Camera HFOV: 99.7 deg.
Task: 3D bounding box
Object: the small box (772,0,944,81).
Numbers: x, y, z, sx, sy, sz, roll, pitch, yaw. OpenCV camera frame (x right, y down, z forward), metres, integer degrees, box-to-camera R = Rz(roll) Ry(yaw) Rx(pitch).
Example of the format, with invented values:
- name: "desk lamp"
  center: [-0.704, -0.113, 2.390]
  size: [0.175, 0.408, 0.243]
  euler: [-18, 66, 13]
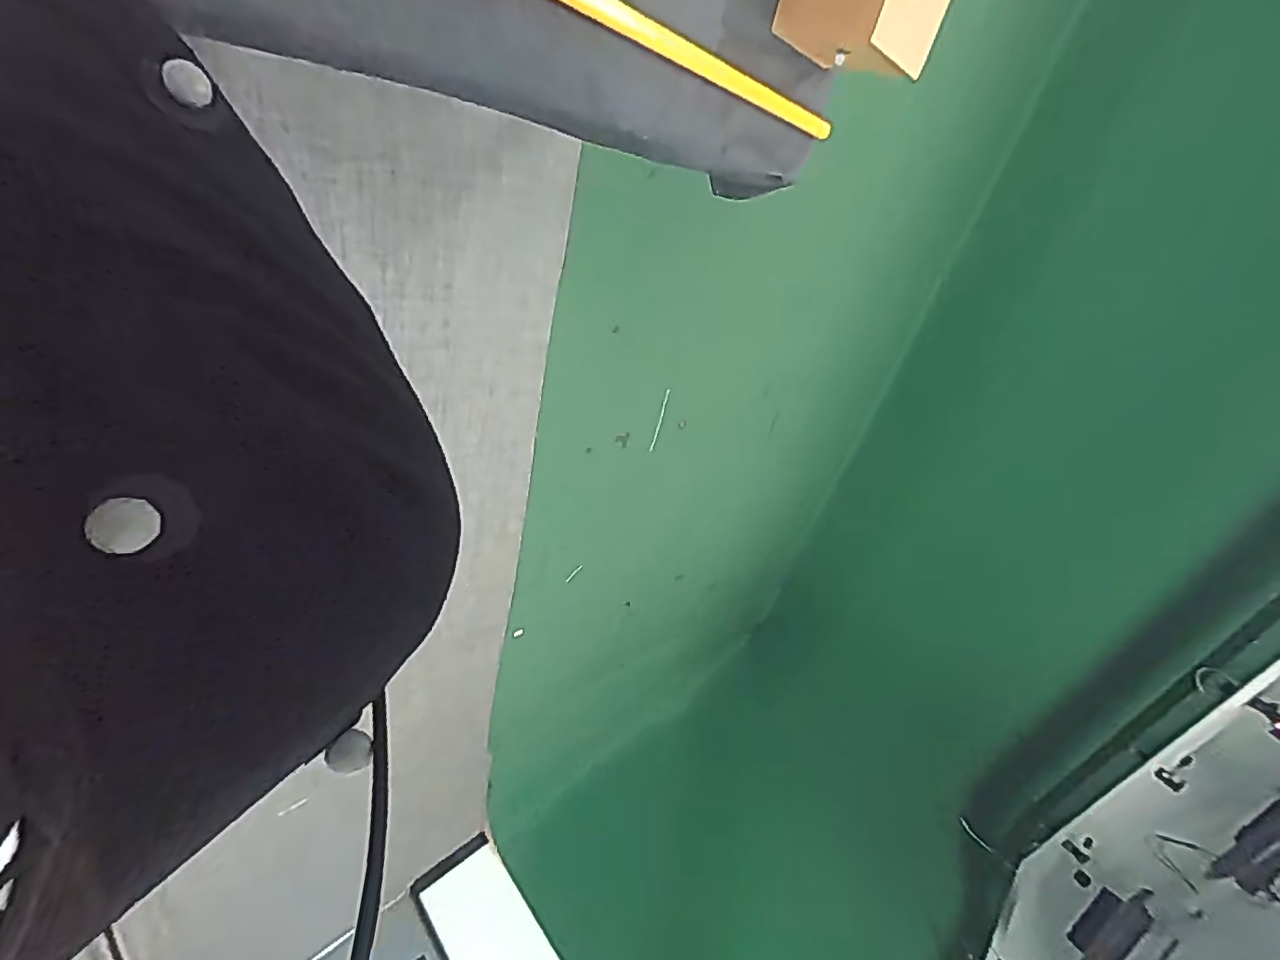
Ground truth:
- name: "small box"
  center: [0.310, -0.691, 0.752]
  size: [0.168, 0.176, 0.179]
  euler: [-15, 131, -43]
